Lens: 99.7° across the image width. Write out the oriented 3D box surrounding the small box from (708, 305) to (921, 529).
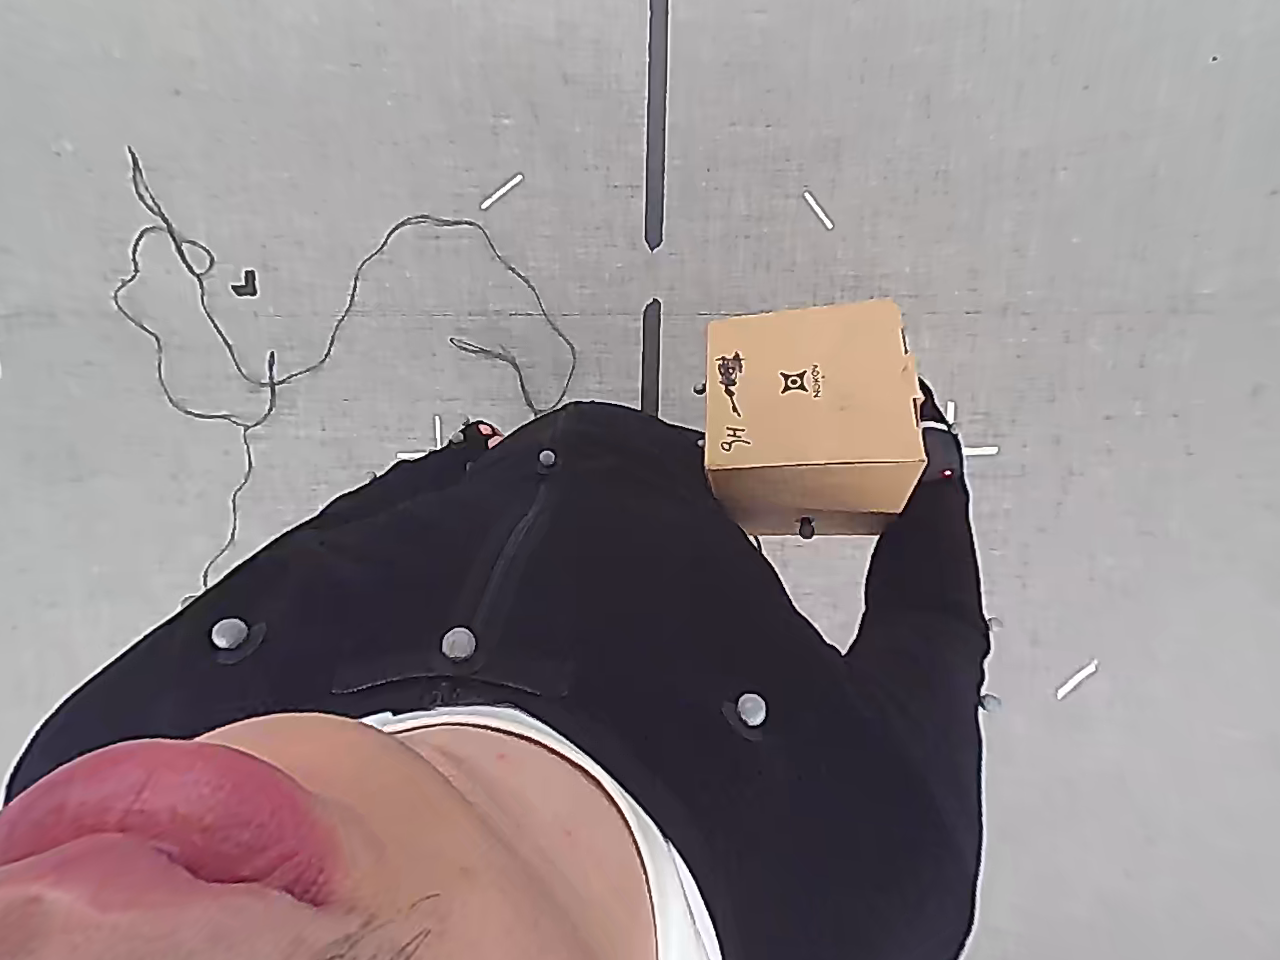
[{"bbox_3d":[0.167,-0.054,0.560,0.179,0.176,0.168,-2,63,13],"label":"small box"}]
